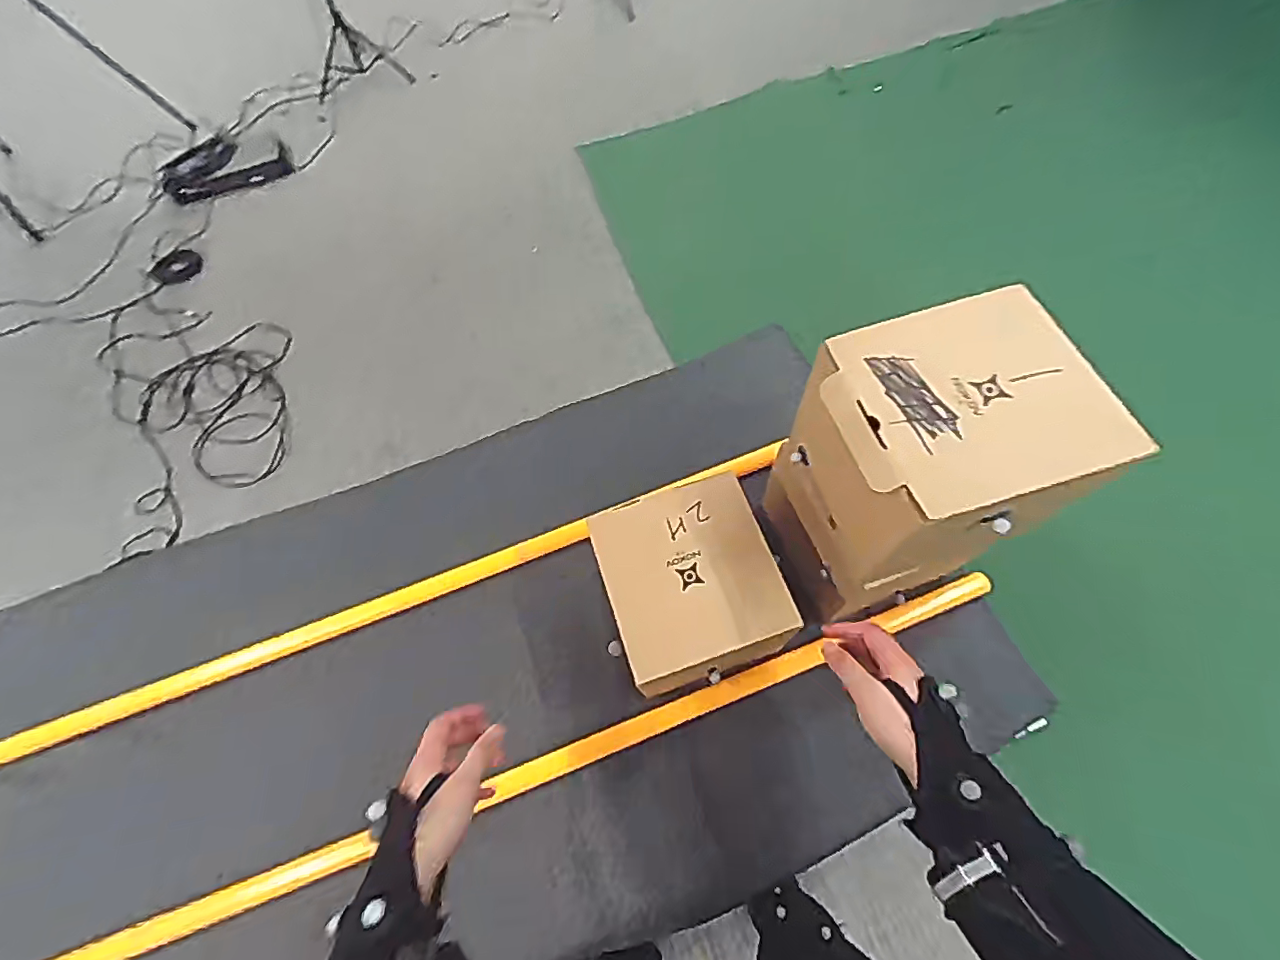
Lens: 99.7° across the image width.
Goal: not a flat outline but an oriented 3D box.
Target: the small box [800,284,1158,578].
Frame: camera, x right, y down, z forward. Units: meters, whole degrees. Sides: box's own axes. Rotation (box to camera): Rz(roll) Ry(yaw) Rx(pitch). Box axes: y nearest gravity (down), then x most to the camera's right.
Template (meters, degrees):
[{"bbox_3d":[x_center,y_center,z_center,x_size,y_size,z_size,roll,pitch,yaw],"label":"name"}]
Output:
[{"bbox_3d":[0.253,-0.030,0.465,0.179,0.176,0.168,-16,65,-3],"label":"small box"}]
